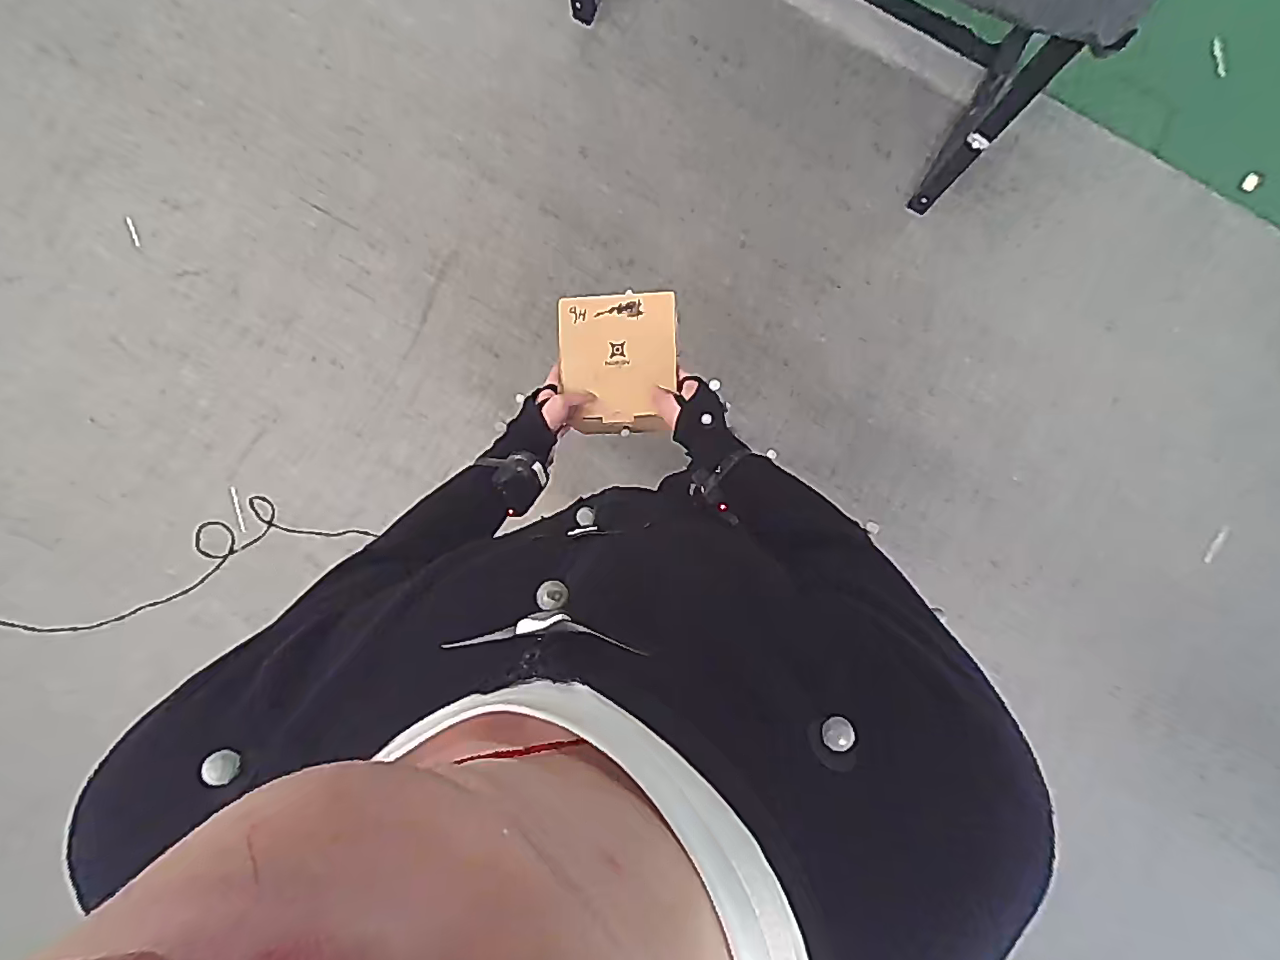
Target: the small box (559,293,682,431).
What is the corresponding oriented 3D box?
[{"bbox_3d":[-0.023,-0.172,0.850,0.168,0.176,0.179,-5,88,5],"label":"small box"}]
